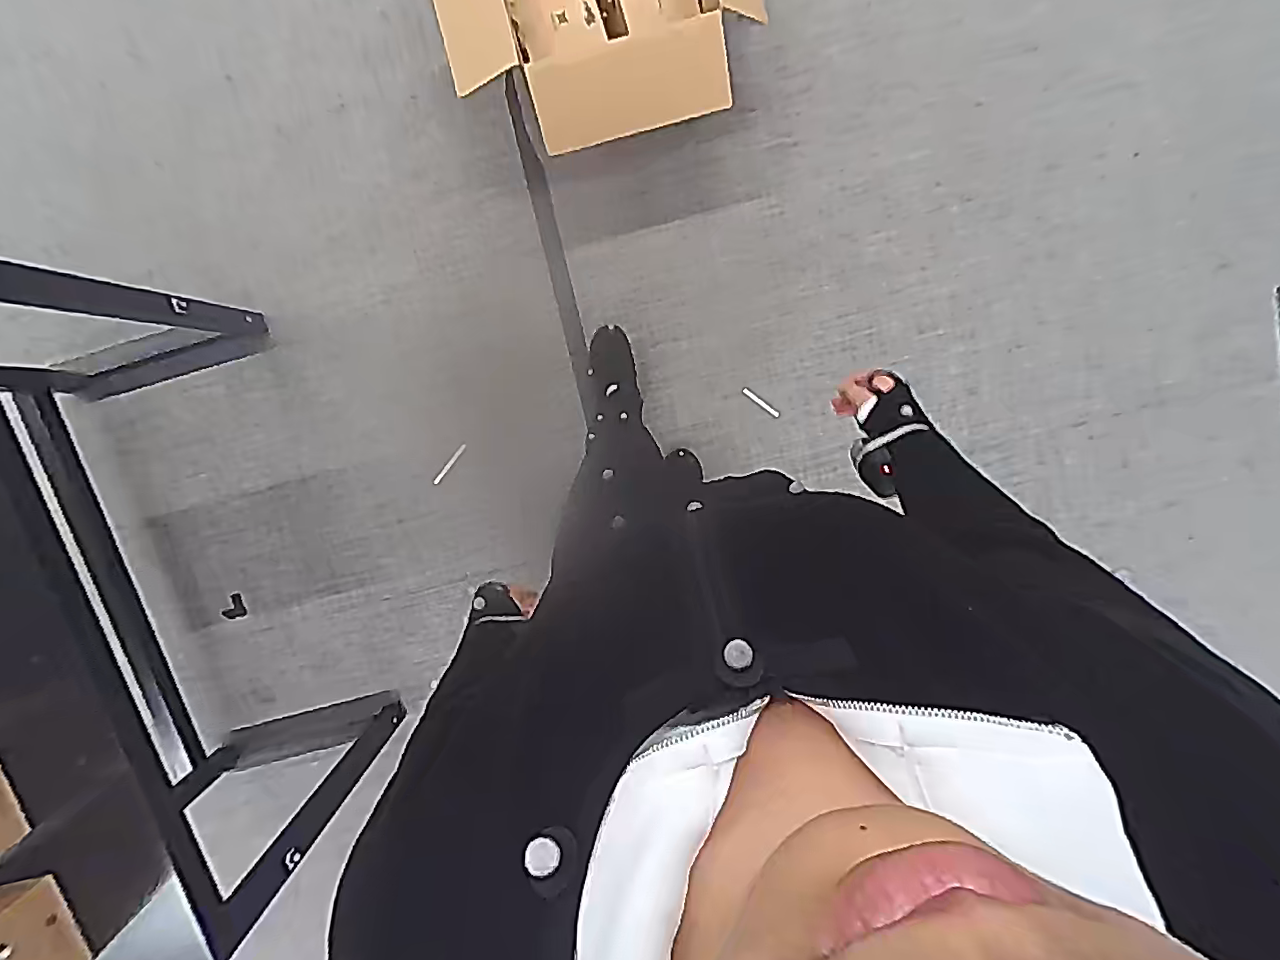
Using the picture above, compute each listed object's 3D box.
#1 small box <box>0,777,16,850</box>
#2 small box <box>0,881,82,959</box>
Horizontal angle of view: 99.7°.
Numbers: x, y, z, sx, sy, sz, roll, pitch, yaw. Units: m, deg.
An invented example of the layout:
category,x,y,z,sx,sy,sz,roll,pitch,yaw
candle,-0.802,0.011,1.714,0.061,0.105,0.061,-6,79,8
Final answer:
category,x,y,z,sx,sy,sz,roll,pitch,yaw
small box,-1.027,0.491,0.733,0.179,0.176,0.168,-14,98,2
small box,-0.968,0.720,0.772,0.179,0.176,0.168,-15,98,3
